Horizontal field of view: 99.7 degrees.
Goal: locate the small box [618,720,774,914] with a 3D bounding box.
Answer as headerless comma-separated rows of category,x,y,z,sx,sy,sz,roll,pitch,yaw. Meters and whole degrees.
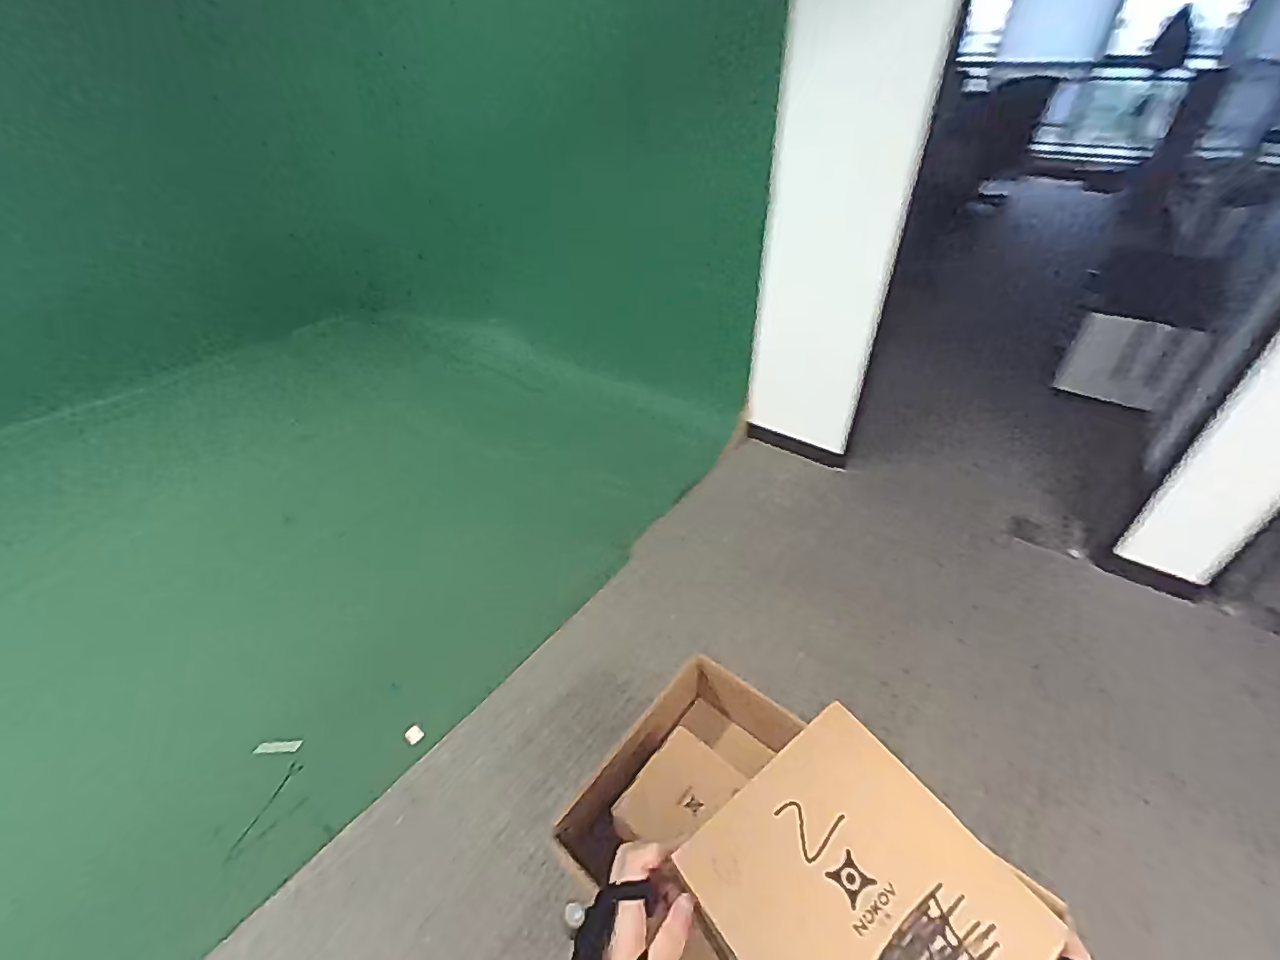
small box,0.087,0.529,0.851,0.179,0.176,0.168,28,50,33
